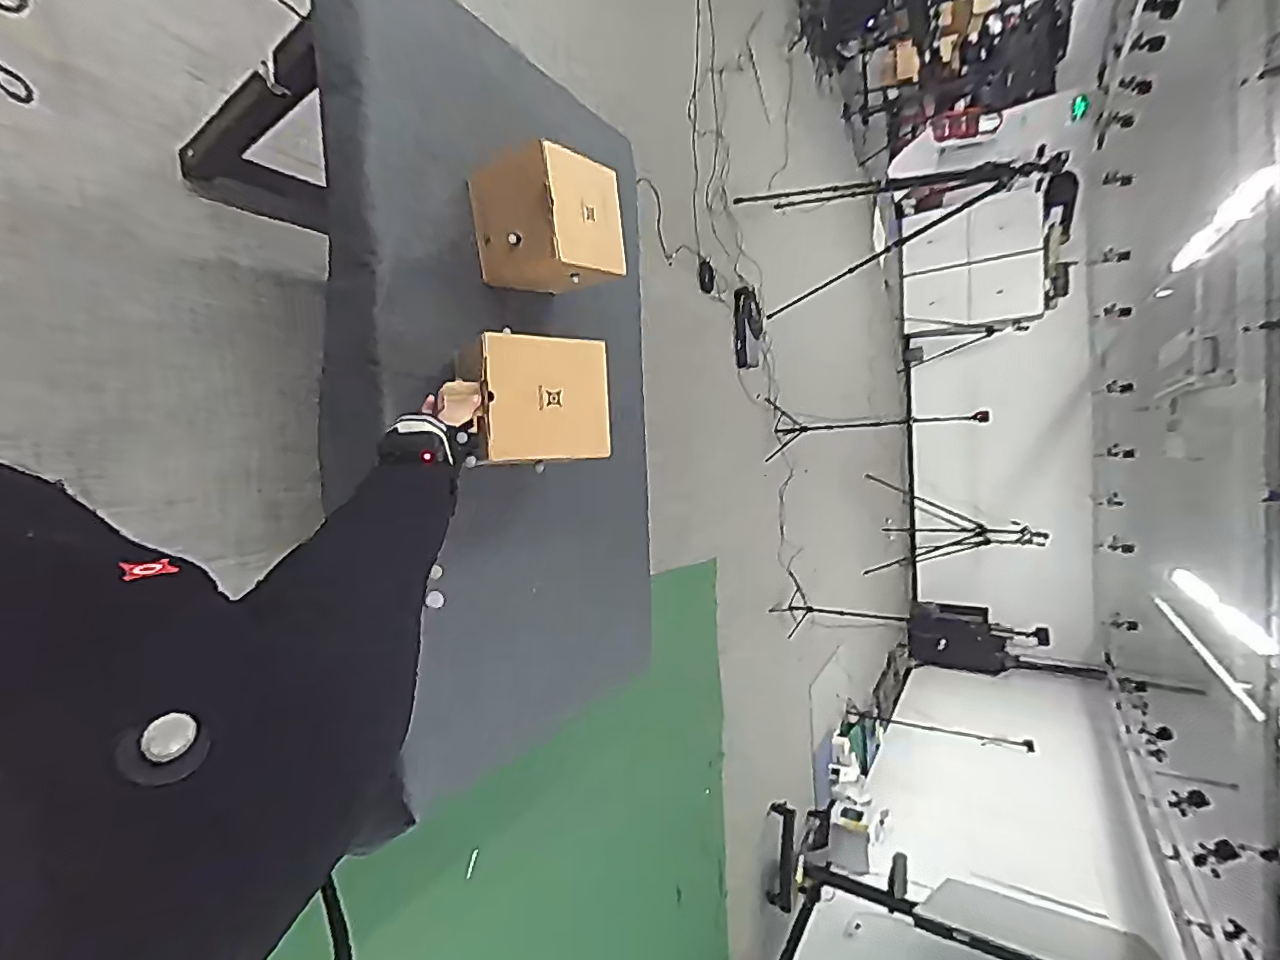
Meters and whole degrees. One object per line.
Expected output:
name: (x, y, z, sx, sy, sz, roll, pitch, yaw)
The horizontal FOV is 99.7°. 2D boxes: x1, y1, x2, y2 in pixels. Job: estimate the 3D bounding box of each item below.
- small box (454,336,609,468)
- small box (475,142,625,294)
small box: (-0.161, -0.103, 0.789, 0.179, 0.176, 0.168, -3, 91, -31)
small box: (-0.147, -0.406, 0.874, 0.179, 0.176, 0.168, -21, 107, -56)
